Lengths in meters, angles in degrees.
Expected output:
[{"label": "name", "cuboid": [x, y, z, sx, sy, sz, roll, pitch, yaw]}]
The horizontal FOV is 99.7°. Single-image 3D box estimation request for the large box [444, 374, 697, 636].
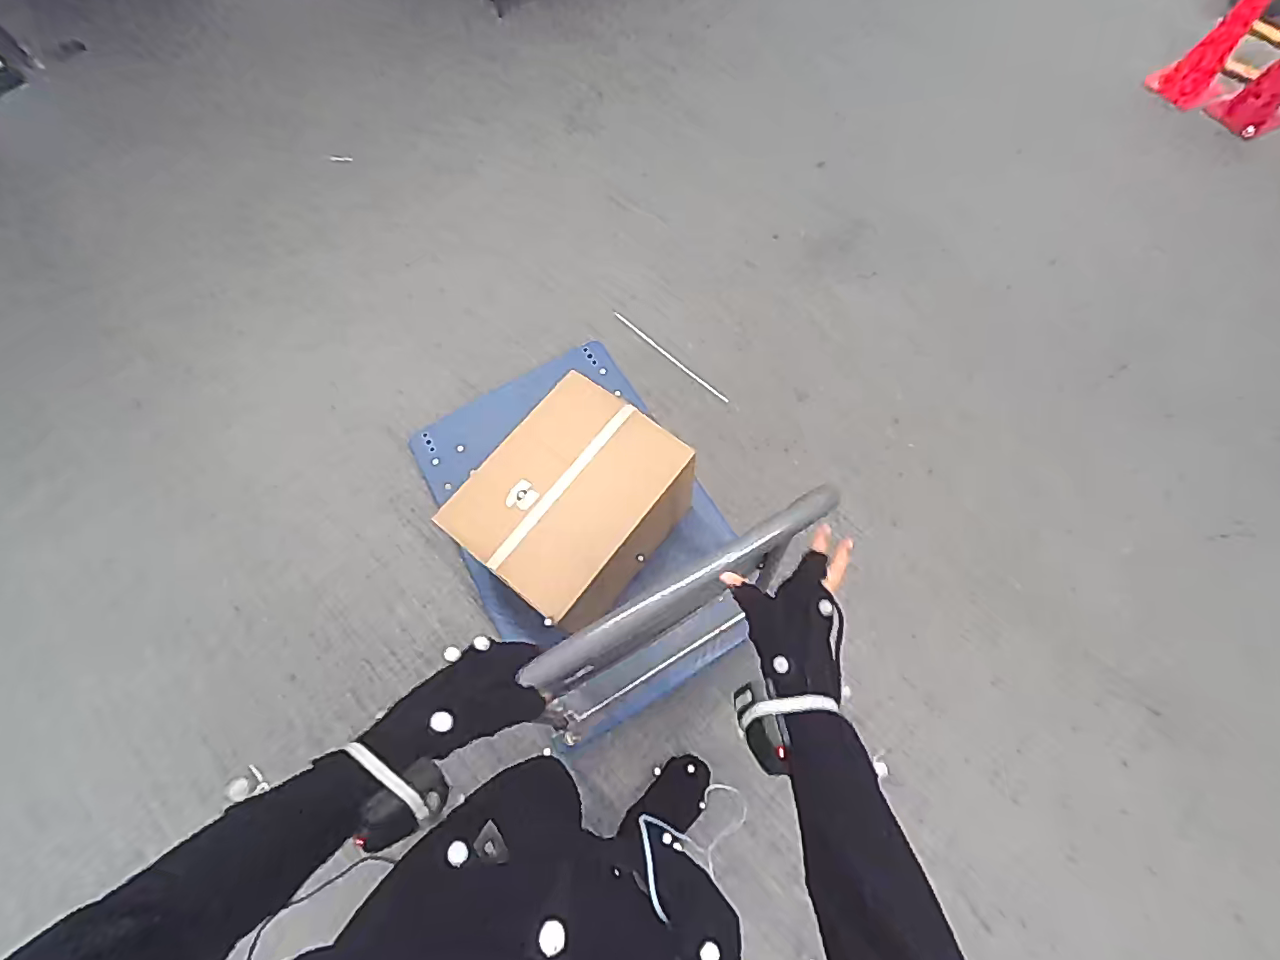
[{"label": "large box", "cuboid": [-0.118, 0.066, 1.147, 0.320, 0.320, 0.408, 35, 75, 16]}]
